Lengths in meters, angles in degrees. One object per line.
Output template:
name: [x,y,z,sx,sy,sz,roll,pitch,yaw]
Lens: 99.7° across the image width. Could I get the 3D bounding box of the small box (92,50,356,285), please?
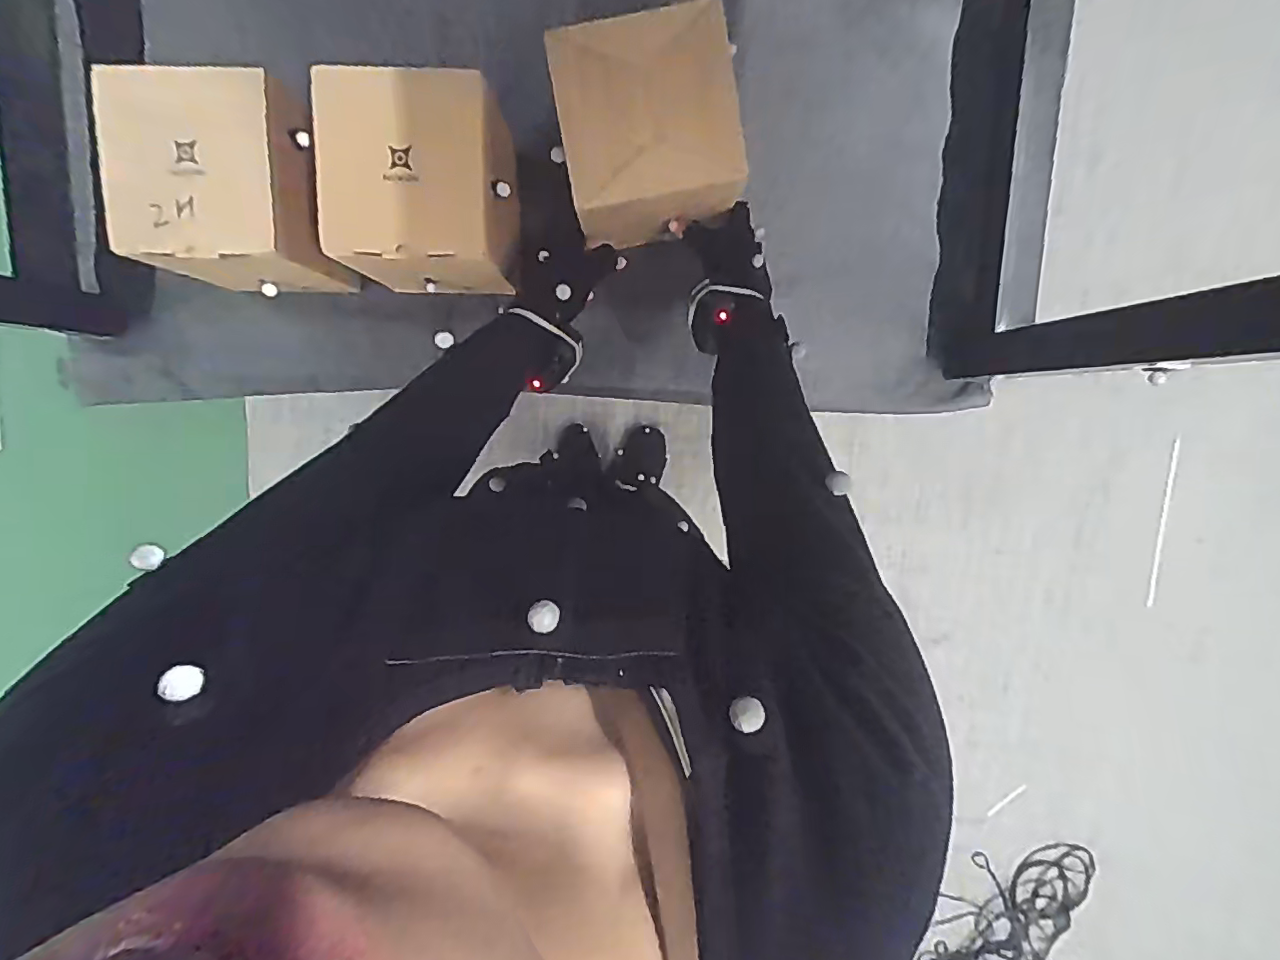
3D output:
small box: [-0.440,-0.329,0.602,0.168,0.176,0.179,1,98,-1]
